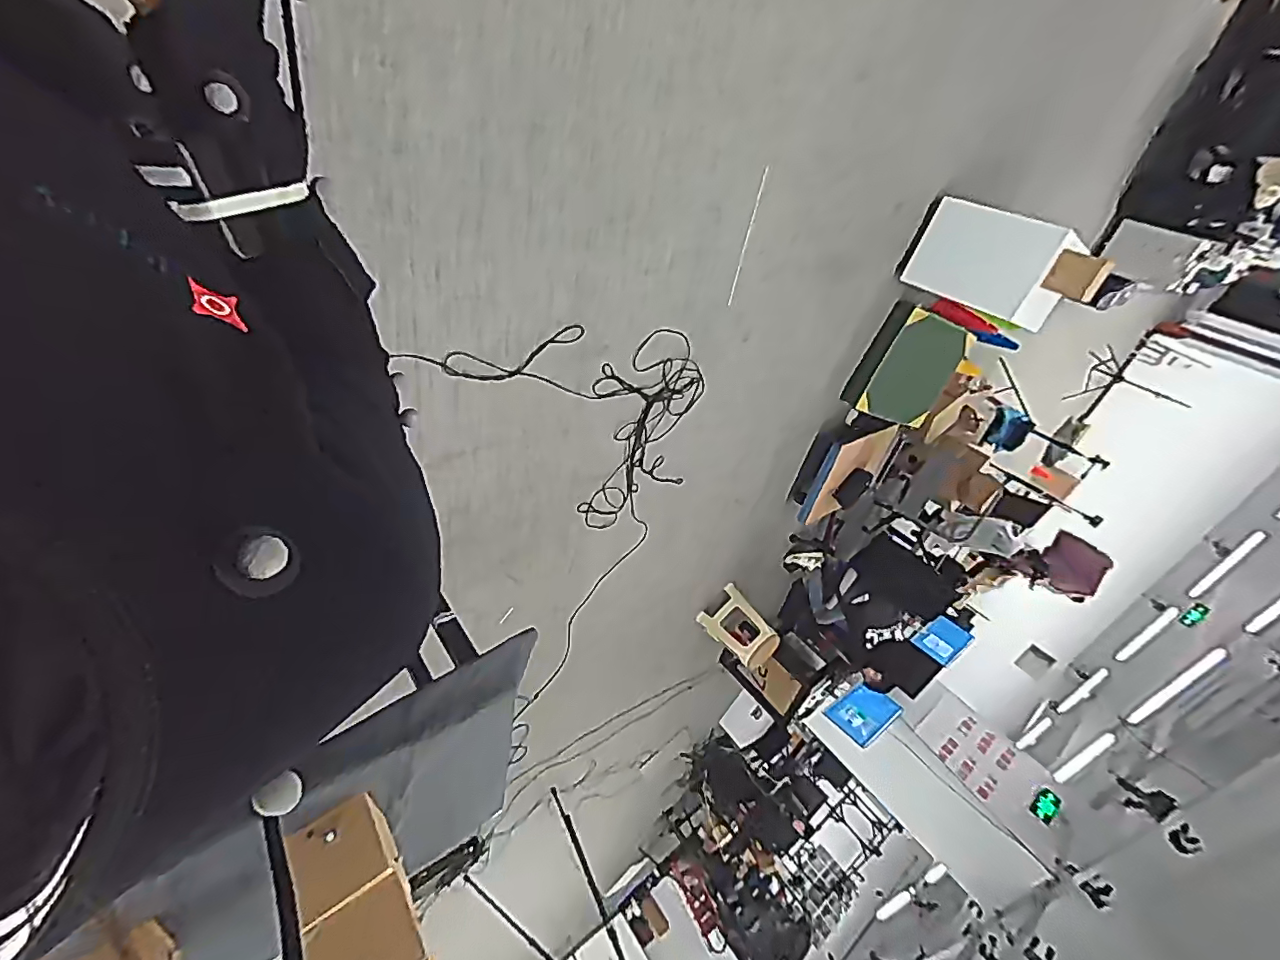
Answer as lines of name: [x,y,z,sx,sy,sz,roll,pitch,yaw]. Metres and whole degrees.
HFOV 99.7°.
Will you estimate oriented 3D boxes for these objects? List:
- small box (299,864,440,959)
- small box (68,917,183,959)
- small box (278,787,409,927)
small box: [-0.494,0.862,0.998,0.179,0.176,0.168,-22,137,-32]
small box: [-0.869,0.875,0.888,0.168,0.176,0.179,-17,135,-38]
small box: [-0.589,0.759,1.082,0.168,0.176,0.179,-26,140,-30]
